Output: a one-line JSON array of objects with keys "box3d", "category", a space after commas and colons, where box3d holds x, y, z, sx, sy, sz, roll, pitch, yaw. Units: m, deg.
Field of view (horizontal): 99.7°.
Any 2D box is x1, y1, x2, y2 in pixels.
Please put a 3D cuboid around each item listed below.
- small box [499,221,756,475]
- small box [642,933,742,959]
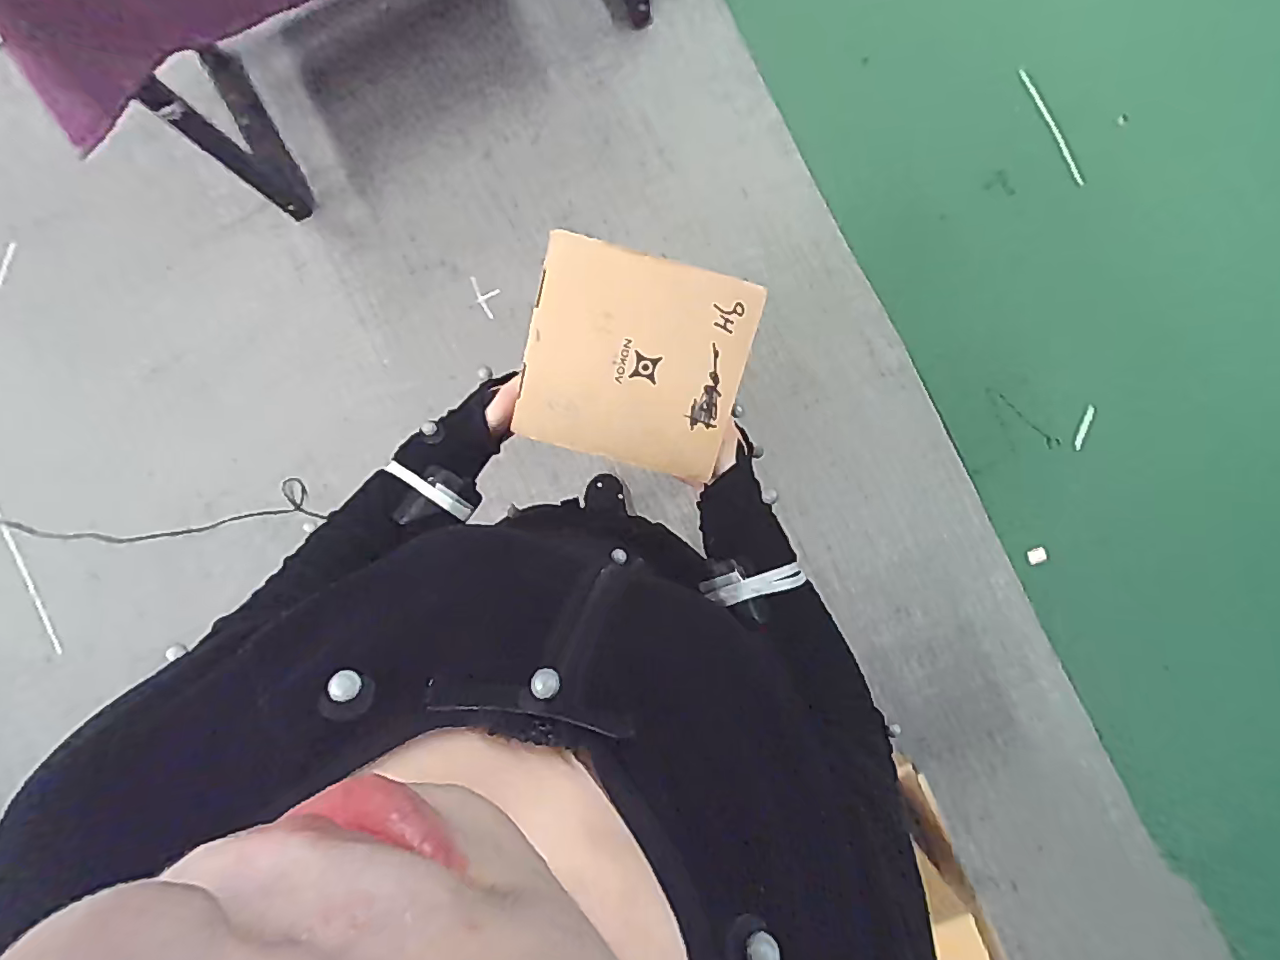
[{"box3d": [-0.012, -0.120, 0.512, 0.179, 0.176, 0.168, 15, 105, -3], "category": "small box"}, {"box3d": [0.086, 0.790, 0.751, 0.179, 0.176, 0.168, -20, 87, 2], "category": "small box"}]
